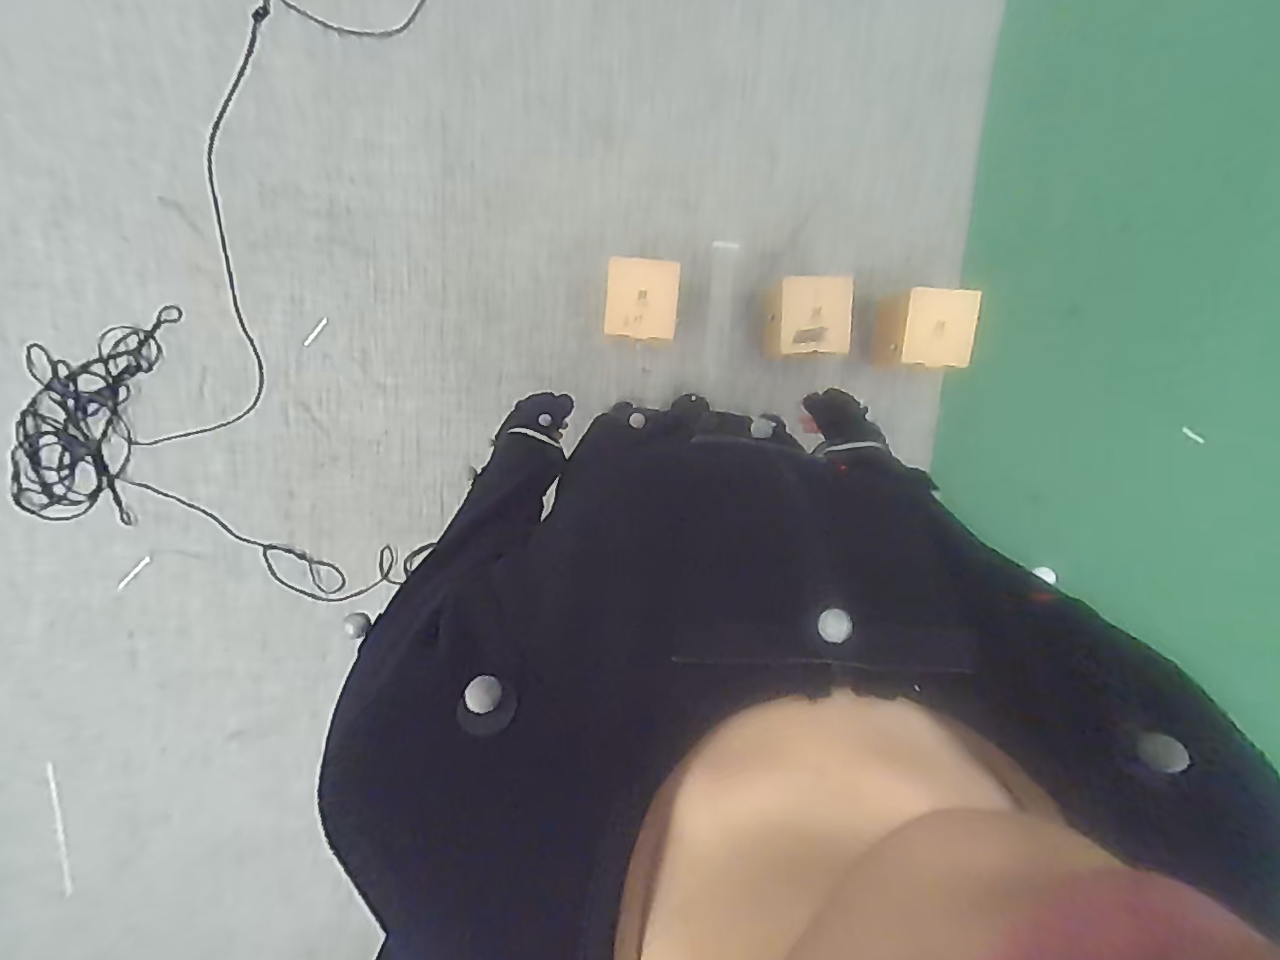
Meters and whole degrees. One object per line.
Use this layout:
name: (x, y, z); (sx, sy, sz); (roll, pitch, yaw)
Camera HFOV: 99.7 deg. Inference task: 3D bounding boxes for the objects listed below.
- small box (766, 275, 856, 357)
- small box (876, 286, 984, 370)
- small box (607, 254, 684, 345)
small box: (0.412, -0.394, 1.325); (0.168, 0.176, 0.179); (0, 99, 0)
small box: (0.703, -0.368, 1.331); (0.168, 0.176, 0.179); (4, 100, 0)
small box: (0.011, -0.432, 1.316); (0.168, 0.176, 0.179); (5, 100, 0)
